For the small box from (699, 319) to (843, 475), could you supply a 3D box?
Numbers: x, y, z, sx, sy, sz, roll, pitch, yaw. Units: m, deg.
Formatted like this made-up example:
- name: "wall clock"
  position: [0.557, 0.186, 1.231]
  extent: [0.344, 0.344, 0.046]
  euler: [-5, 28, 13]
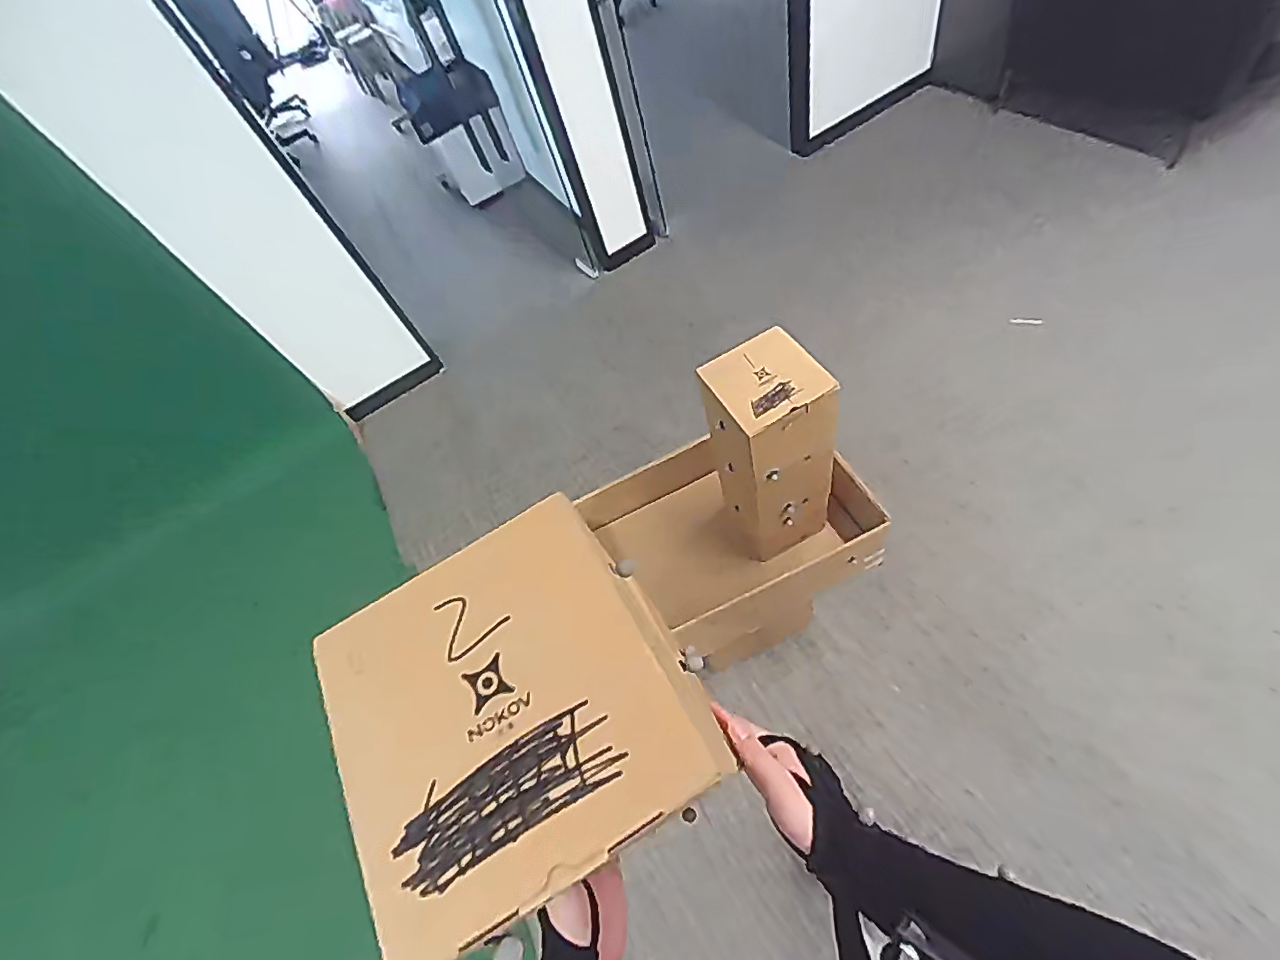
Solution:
- name: "small box"
  position: [0.224, -0.132, 0.923]
  extent: [0.168, 0.176, 0.179]
  euler: [-28, 55, -2]

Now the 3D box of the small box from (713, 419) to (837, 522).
- name: "small box"
  position: [0.260, -0.050, 1.061]
  extent: [0.168, 0.176, 0.179]
  euler: [-28, 56, -2]

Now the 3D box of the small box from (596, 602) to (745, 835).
- name: "small box"
  position: [0.007, 0.273, 0.628]
  extent: [0.168, 0.176, 0.179]
  euler: [-30, 61, -3]

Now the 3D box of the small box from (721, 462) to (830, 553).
- name: "small box"
  position: [0.297, 0.031, 1.197]
  extent: [0.168, 0.176, 0.179]
  euler: [-28, 55, -2]

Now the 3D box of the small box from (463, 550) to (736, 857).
- name: "small box"
  position: [-0.028, 0.197, 0.489]
  extent: [0.168, 0.176, 0.179]
  euler: [-29, 62, -4]
